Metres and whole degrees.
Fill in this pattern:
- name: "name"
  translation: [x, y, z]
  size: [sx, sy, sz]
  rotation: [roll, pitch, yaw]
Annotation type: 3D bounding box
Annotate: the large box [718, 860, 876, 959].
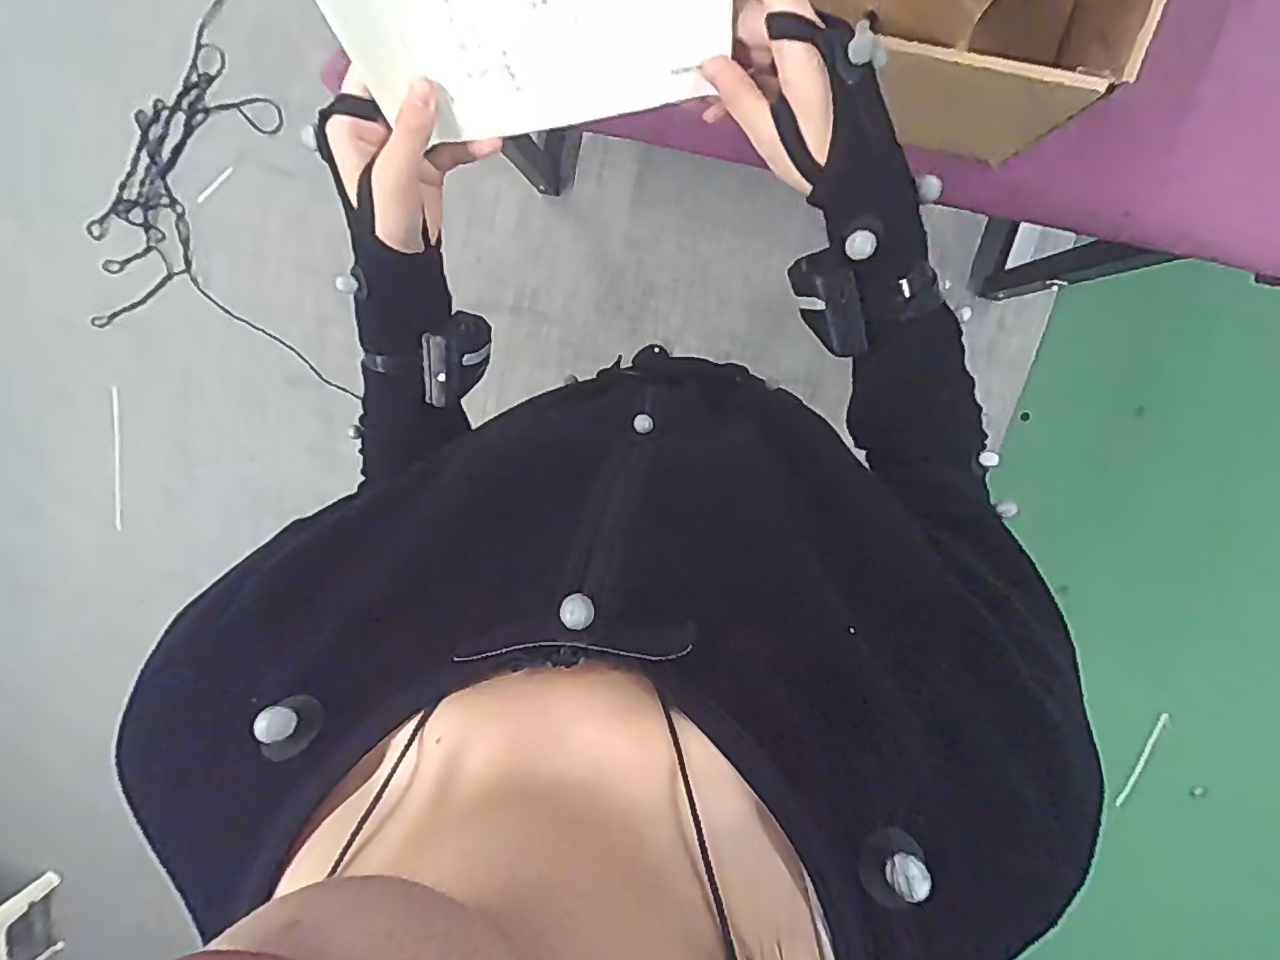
- name: "large box"
  translation: [0.440, 1.385, 1.592]
  size: [0.408, 0.320, 0.320]
  rotation: [-1, 102, 6]
